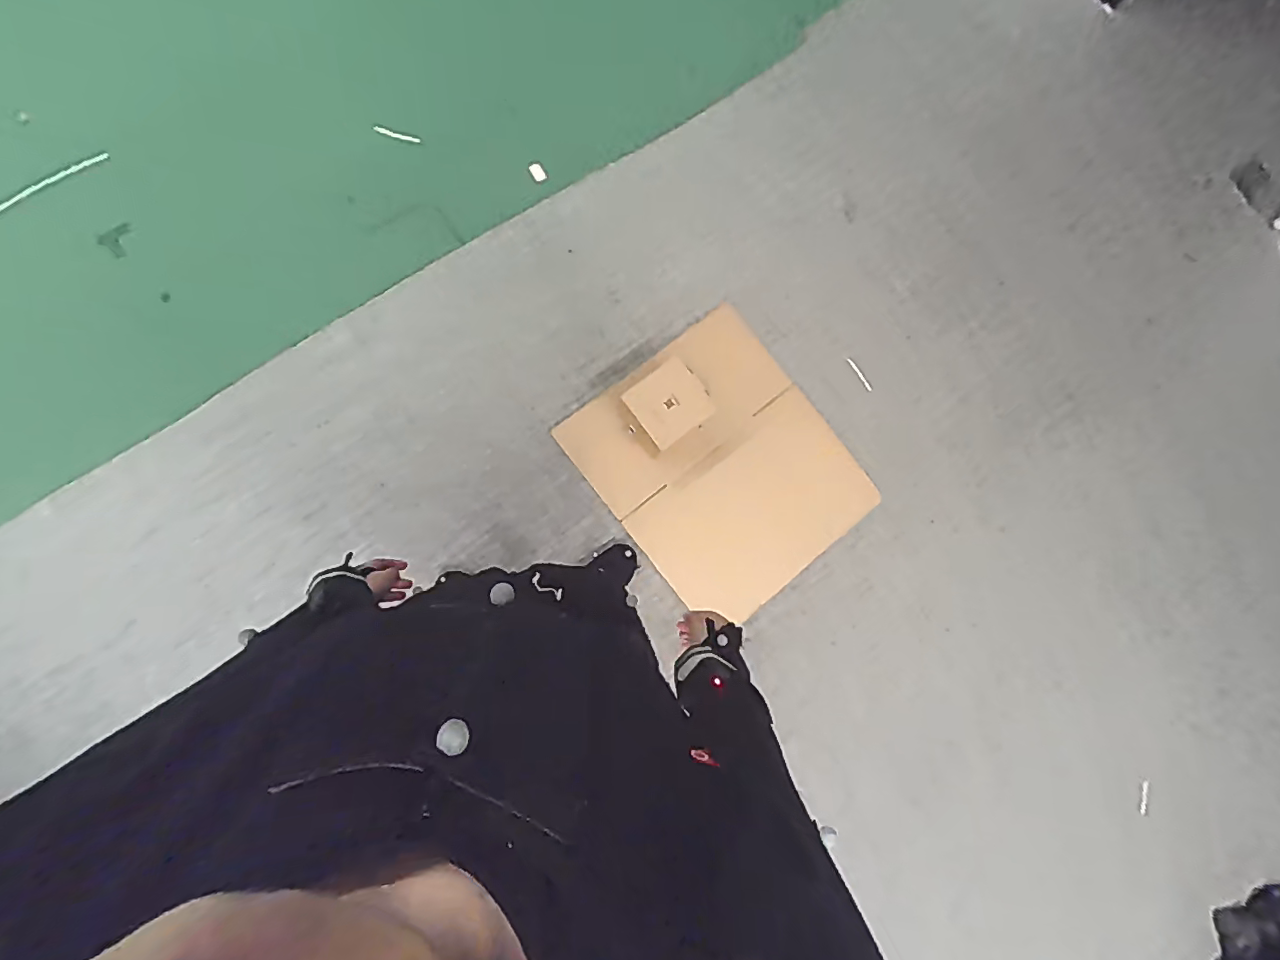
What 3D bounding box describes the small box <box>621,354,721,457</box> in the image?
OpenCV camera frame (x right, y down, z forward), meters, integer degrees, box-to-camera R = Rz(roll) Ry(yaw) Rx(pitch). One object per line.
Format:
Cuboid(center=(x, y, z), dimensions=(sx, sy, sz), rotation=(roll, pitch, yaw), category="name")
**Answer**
Cuboid(center=(0.068, -0.176, 1.334), dimensions=(0.179, 0.176, 0.168), rotation=(-37, 89, -7), category="small box")
